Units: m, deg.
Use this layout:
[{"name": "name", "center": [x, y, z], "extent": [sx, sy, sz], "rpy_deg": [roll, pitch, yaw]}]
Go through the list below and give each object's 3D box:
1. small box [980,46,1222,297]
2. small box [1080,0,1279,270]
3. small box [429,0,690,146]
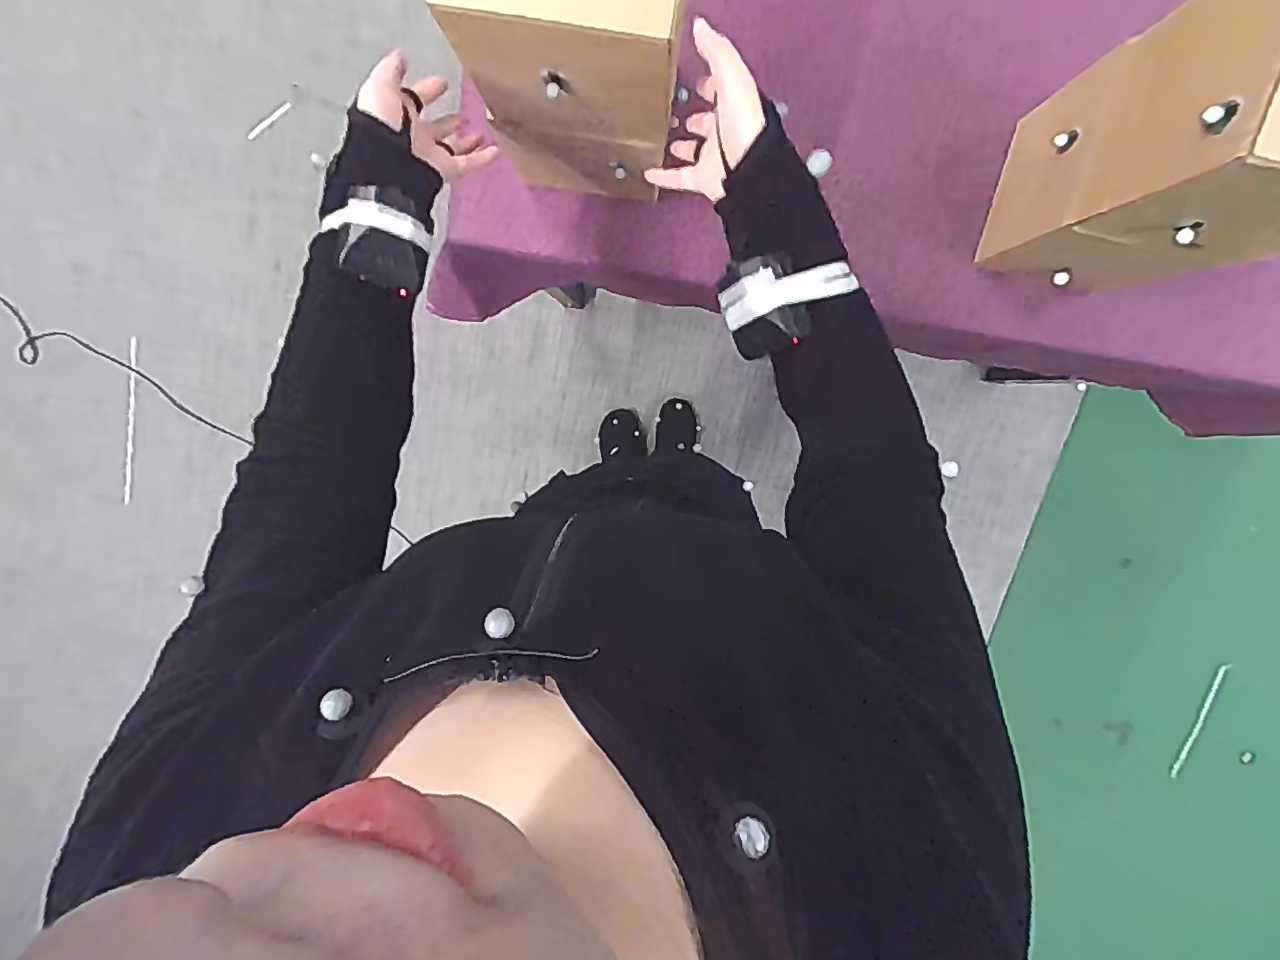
[{"name": "small box", "center": [0.522, -0.320, 0.601], "extent": [0.168, 0.176, 0.179], "rpy_deg": [13, 100, 0]}, {"name": "small box", "center": [0.519, -0.292, 0.441], "extent": [0.168, 0.176, 0.179], "rpy_deg": [13, 101, 0]}, {"name": "small box", "center": [-0.048, -0.401, 0.440], "extent": [0.179, 0.176, 0.168], "rpy_deg": [9, 100, 0]}]
